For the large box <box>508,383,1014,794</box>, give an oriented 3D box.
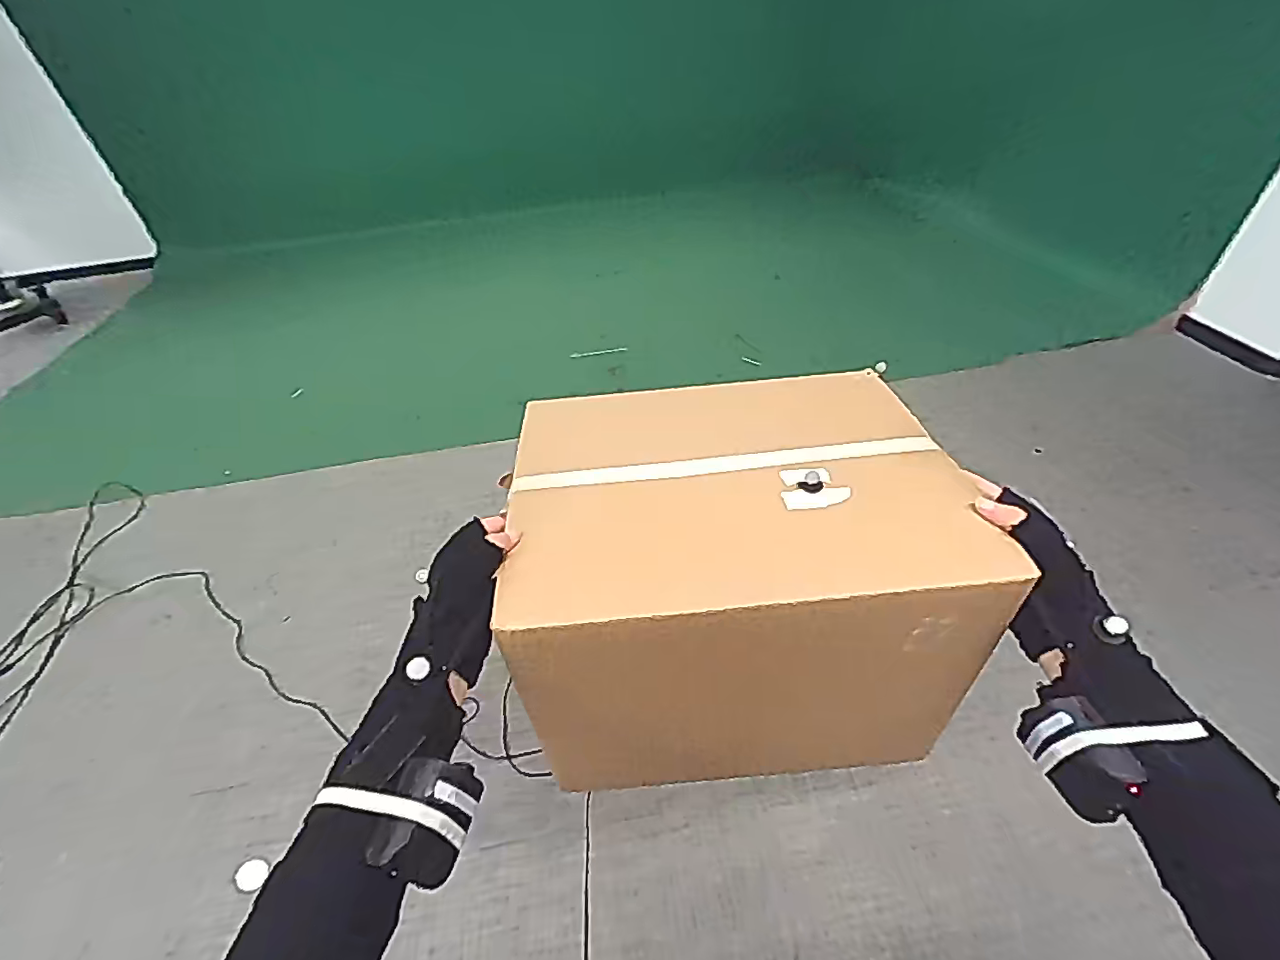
[{"bbox_3d":[0.089,0.114,0.617,0.408,0.320,0.320,-6,40,-2],"label":"large box"}]
